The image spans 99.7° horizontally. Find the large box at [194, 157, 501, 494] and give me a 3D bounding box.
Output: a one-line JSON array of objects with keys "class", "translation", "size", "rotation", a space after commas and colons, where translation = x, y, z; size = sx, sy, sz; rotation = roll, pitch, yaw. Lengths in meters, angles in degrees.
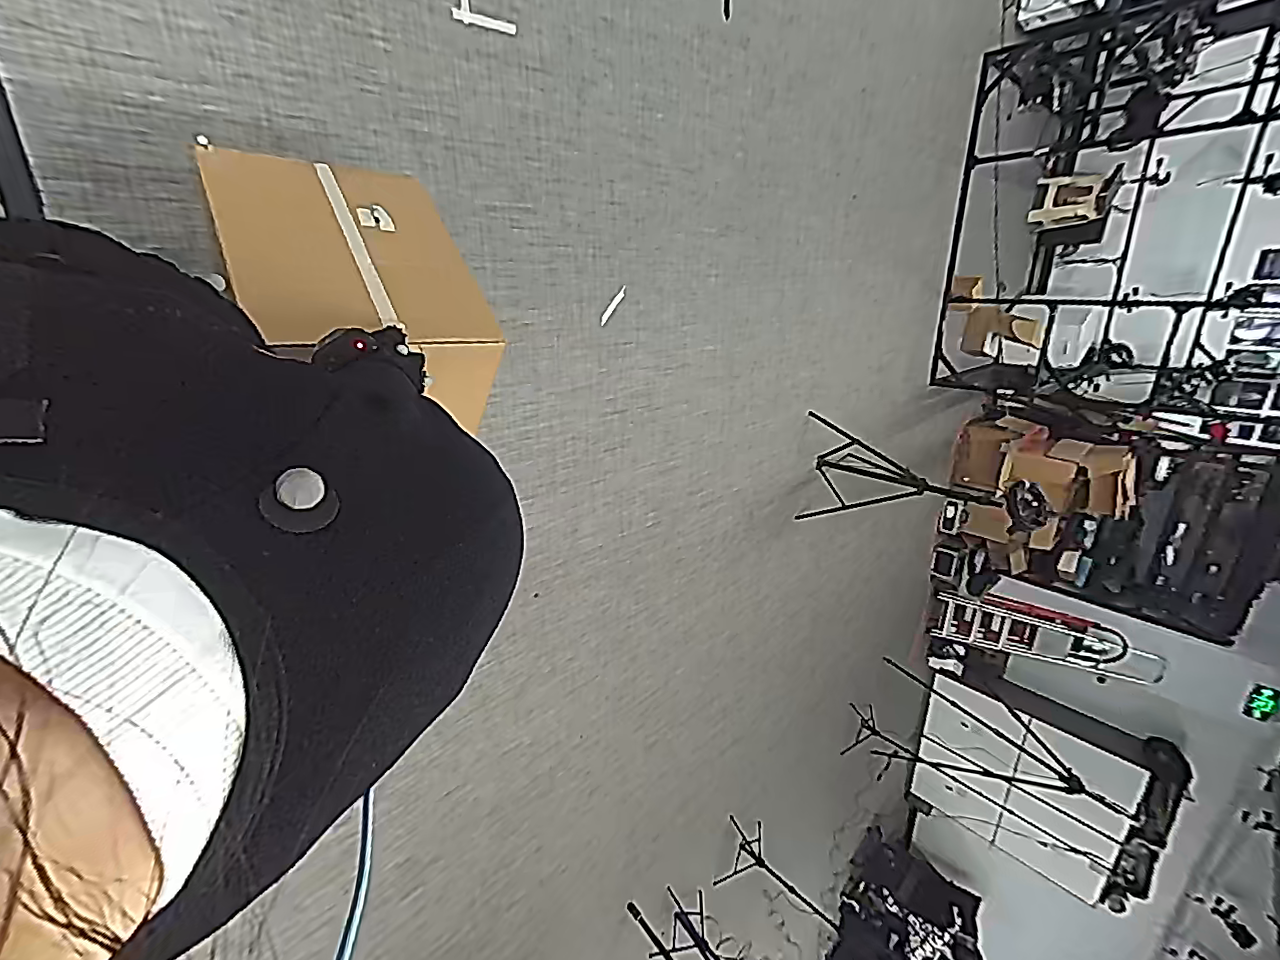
[{"class": "large box", "translation": [-0.481, -0.243, 0.890], "size": [0.320, 0.408, 0.320], "rotation": [-13, 151, -40]}]
